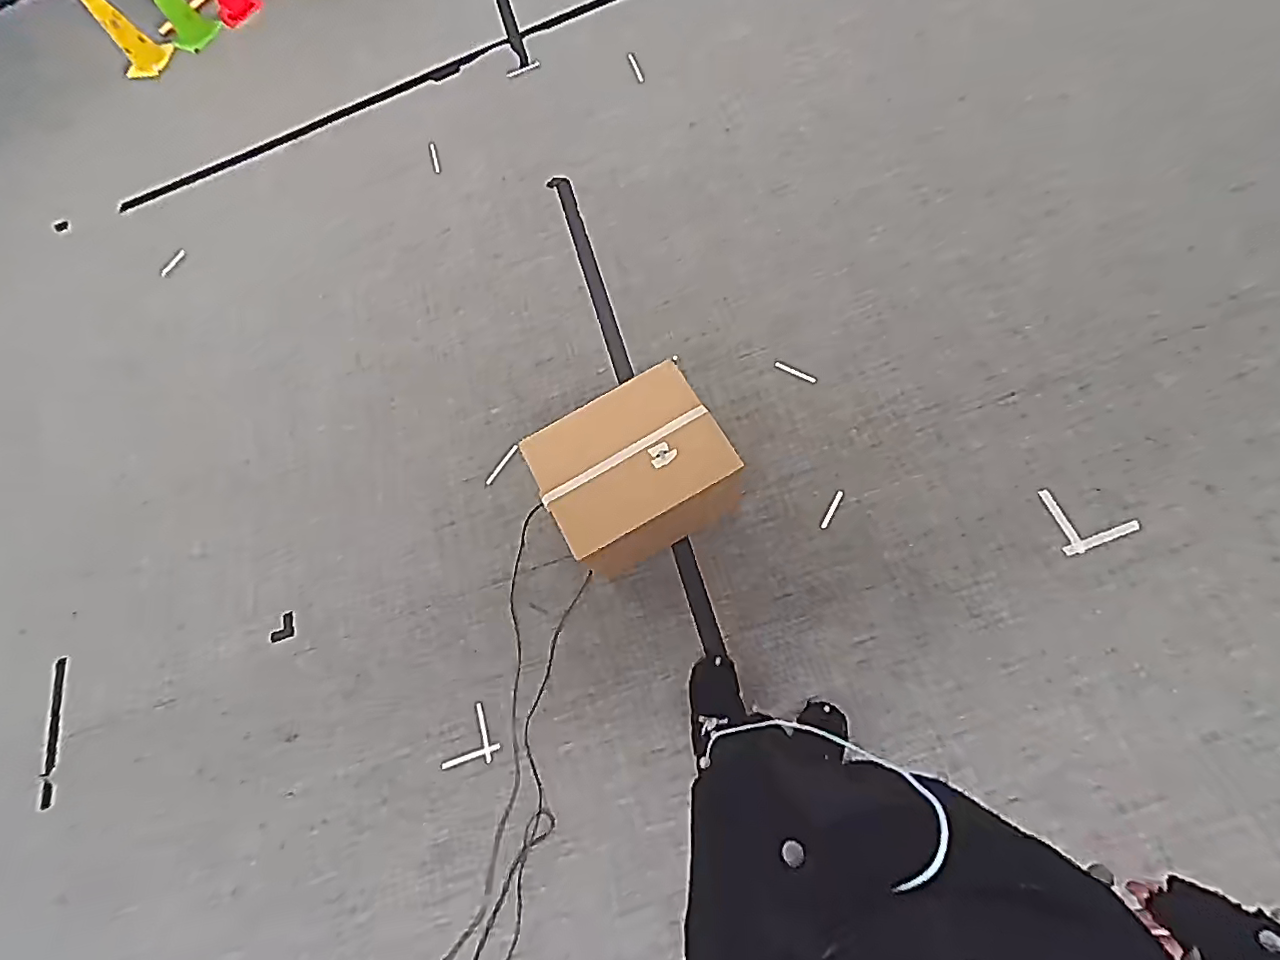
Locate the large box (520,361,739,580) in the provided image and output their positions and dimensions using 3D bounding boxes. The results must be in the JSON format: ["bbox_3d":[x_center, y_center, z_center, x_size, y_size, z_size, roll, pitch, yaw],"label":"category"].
[{"bbox_3d":[-0.012,-0.005,1.314,0.408,0.320,0.320,-29,70,-2],"label":"large box"}]
